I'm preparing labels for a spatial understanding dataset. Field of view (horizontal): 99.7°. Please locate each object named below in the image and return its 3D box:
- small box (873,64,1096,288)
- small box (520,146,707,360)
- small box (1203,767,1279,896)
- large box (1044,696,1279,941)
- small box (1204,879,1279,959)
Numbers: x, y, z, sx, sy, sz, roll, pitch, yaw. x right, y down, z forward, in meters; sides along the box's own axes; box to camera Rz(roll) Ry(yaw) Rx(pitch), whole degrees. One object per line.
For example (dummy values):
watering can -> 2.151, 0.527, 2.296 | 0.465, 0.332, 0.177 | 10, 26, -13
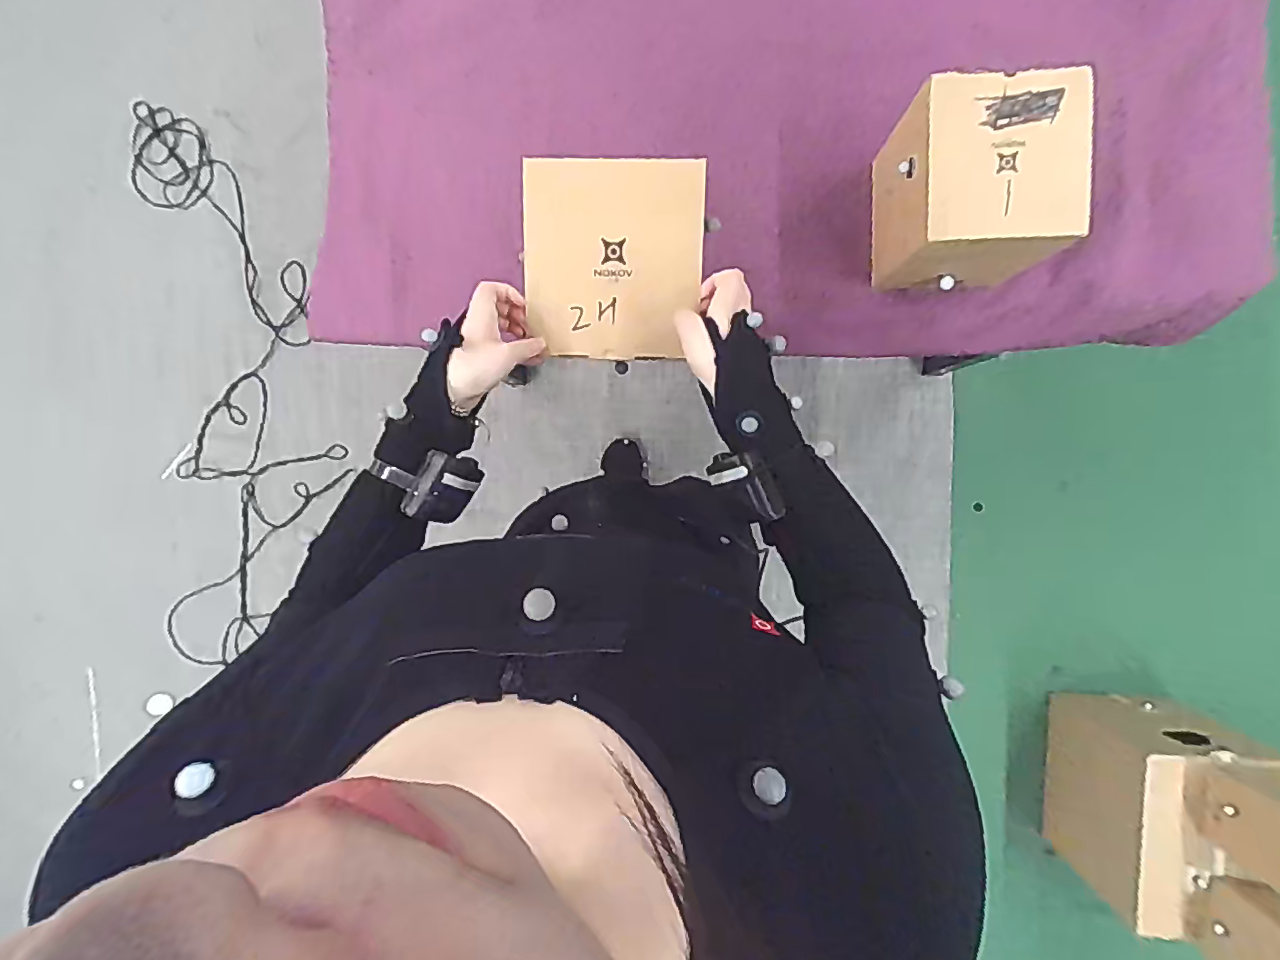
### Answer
small box -> 0.387, -0.341, 0.638 | 0.168, 0.176, 0.179 | 0, 93, 4
small box -> -0.023, -0.219, 0.564 | 0.168, 0.176, 0.179 | 2, 102, 3
small box -> 1.260, 0.679, 1.038 | 0.179, 0.176, 0.168 | 1, 93, 4
large box -> 1.225, 0.774, 1.287 | 0.320, 0.320, 0.408 | 1, 93, 5
small box -> 1.261, 0.928, 1.045 | 0.168, 0.176, 0.179 | 6, 92, 3
